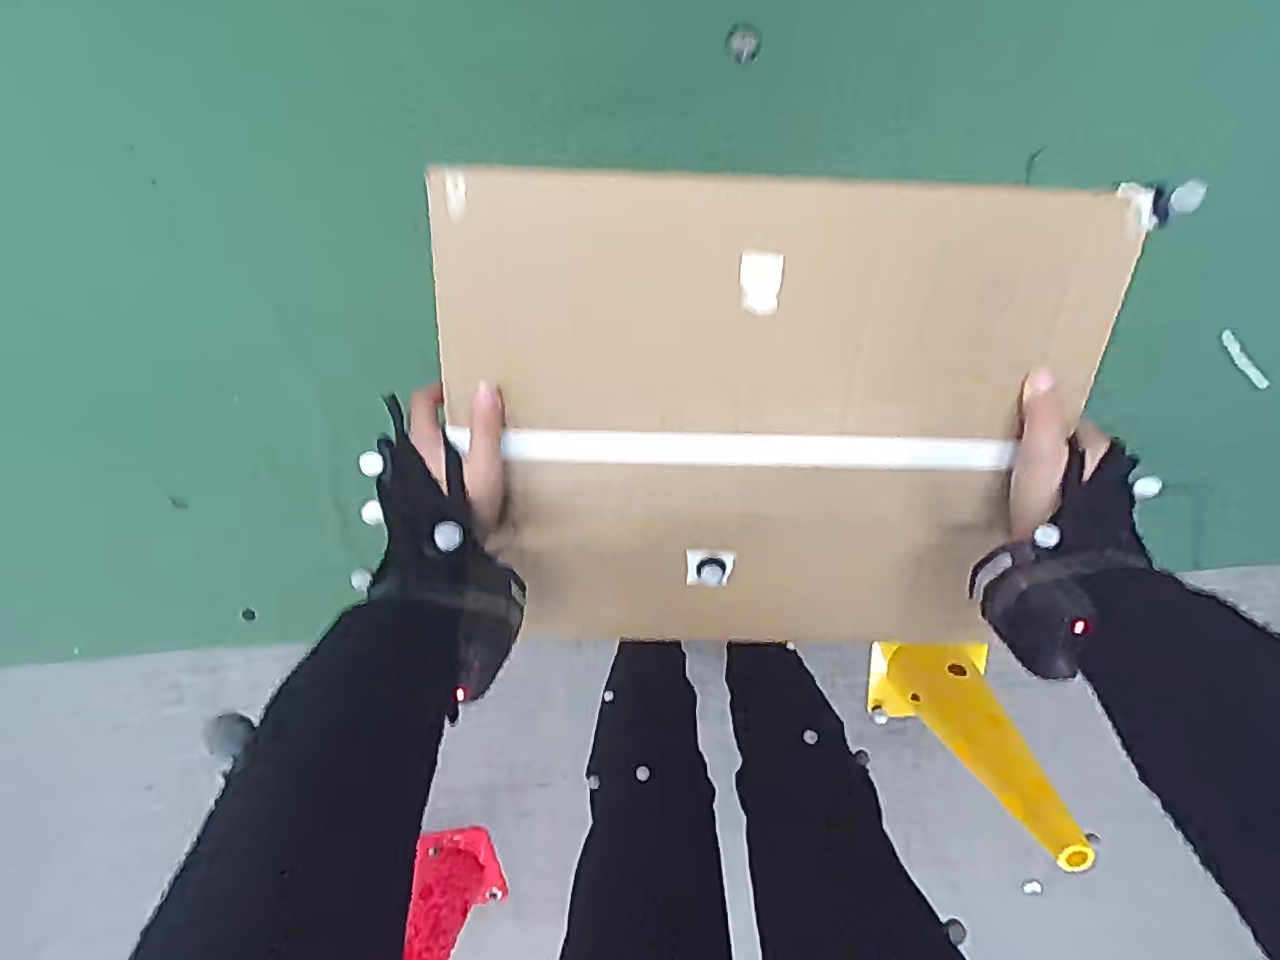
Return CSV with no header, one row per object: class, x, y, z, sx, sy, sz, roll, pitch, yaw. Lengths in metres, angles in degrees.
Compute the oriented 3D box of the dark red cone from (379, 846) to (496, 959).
dark red cone,-0.405,0.847,0.911,0.202,0.394,0.201,-12,102,6
